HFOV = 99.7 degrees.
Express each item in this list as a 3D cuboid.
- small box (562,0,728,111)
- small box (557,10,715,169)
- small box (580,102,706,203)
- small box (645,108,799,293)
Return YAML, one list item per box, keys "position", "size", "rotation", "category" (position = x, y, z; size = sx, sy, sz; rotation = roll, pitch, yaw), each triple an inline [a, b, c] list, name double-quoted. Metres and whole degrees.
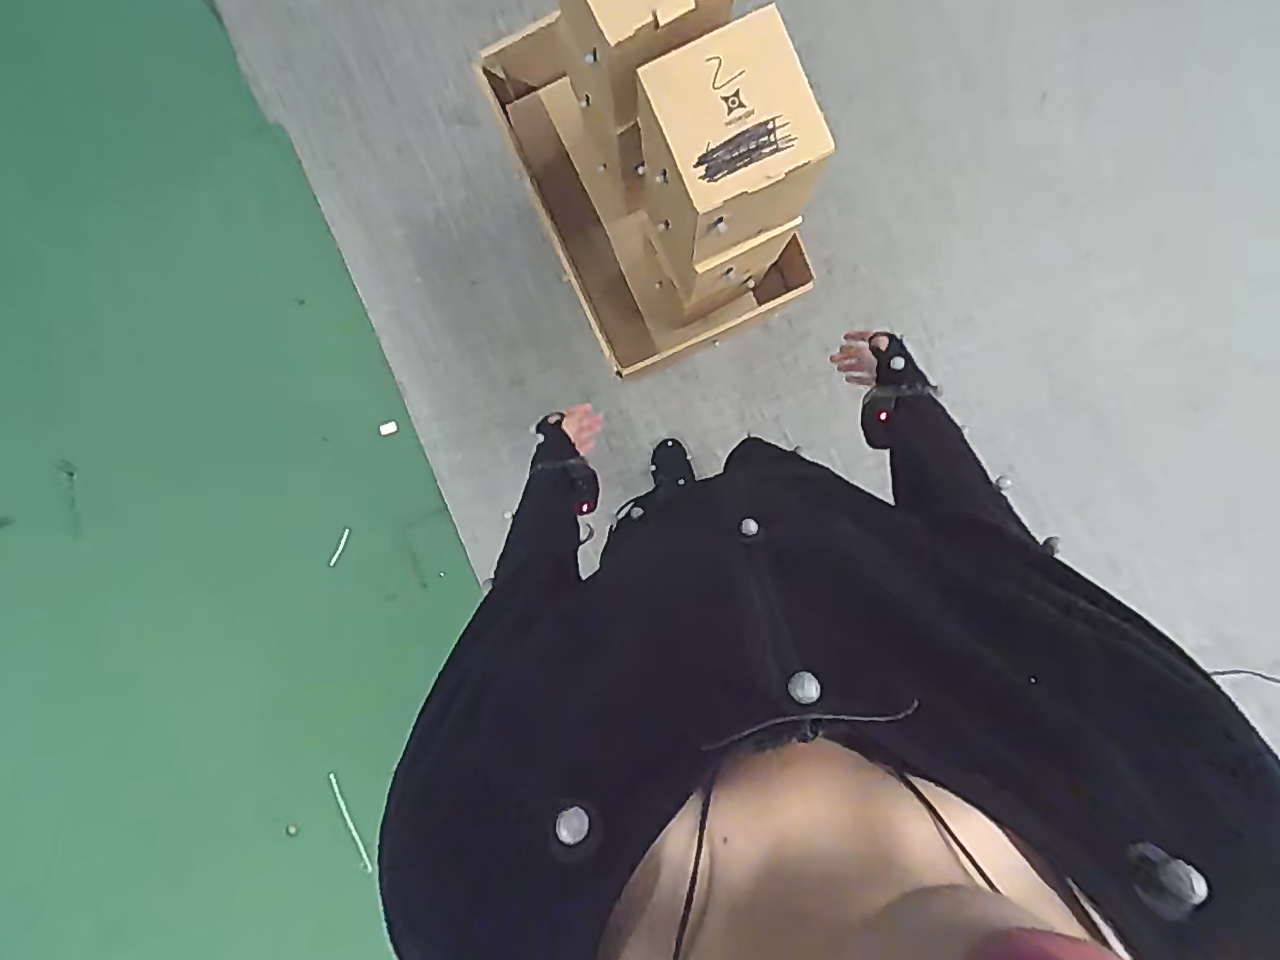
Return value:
- position: [0.002, -0.600, 0.663]
  size: [0.168, 0.176, 0.179]
  rotation: [-26, 95, 3]
  category: "small box"
- position: [-0.002, -0.613, 0.826]
  size: [0.168, 0.176, 0.179]
  rotation: [-29, 94, 3]
  category: "small box"
- position: [0.004, -0.639, 0.988]
  size: [0.168, 0.176, 0.179]
  rotation: [-28, 96, 3]
  category: "small box"
- position: [0.119, -0.409, 0.834]
  size: [0.168, 0.176, 0.179]
  rotation: [-26, 92, 3]
  category: "small box"
